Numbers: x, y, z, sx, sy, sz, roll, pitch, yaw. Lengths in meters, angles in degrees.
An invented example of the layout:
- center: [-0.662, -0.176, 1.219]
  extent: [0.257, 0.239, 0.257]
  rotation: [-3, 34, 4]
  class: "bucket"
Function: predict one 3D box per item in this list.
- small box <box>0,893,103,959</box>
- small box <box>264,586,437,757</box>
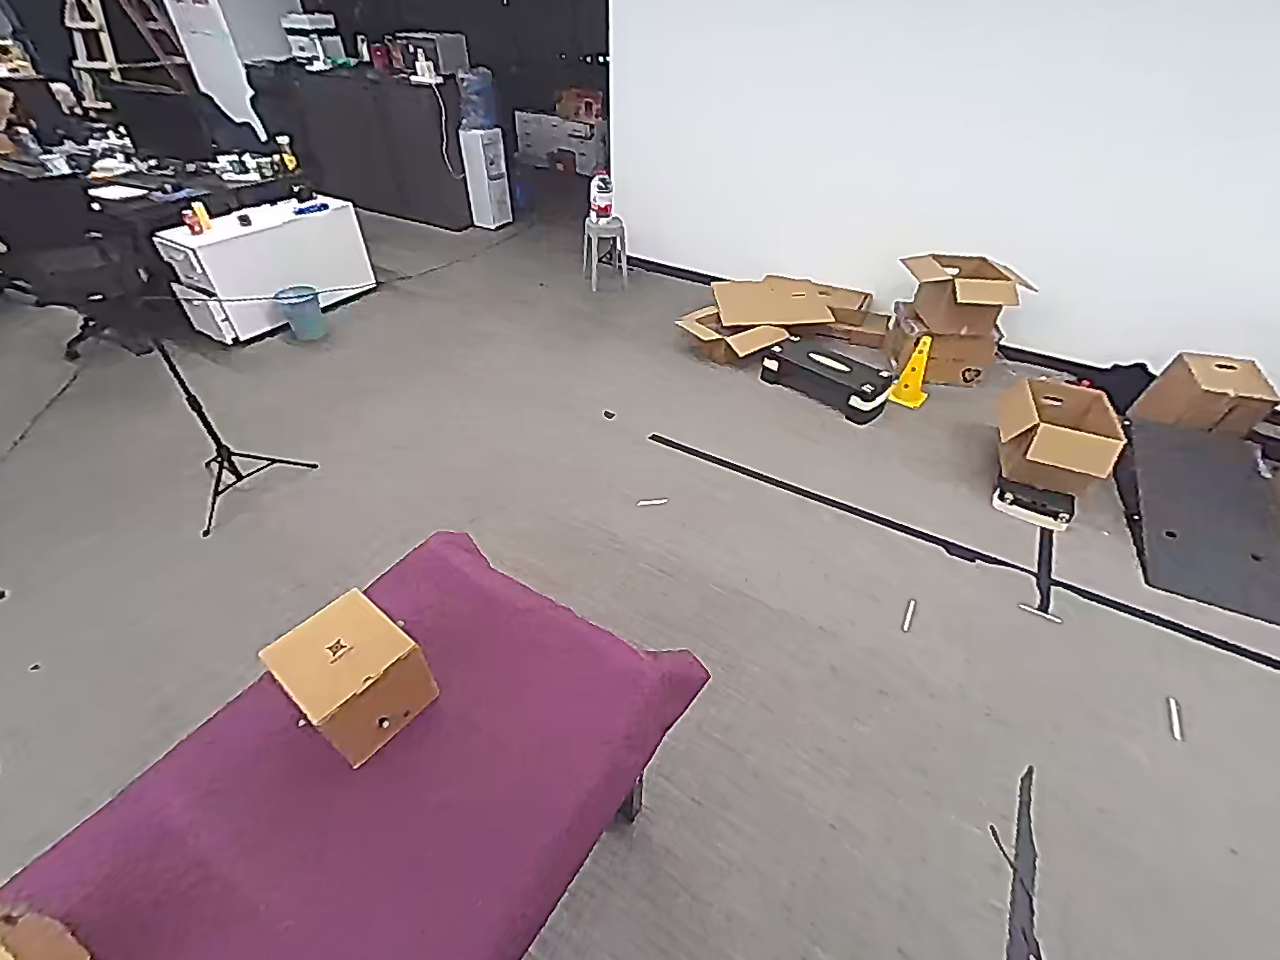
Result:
- center: [-0.723, 0.586, 0.577]
  extent: [0.179, 0.176, 0.168]
  rotation: [21, 45, 20]
  class: "small box"
- center: [-0.468, 0.317, 0.894]
  extent: [0.179, 0.176, 0.168]
  rotation: [29, 48, 26]
  class: "small box"
